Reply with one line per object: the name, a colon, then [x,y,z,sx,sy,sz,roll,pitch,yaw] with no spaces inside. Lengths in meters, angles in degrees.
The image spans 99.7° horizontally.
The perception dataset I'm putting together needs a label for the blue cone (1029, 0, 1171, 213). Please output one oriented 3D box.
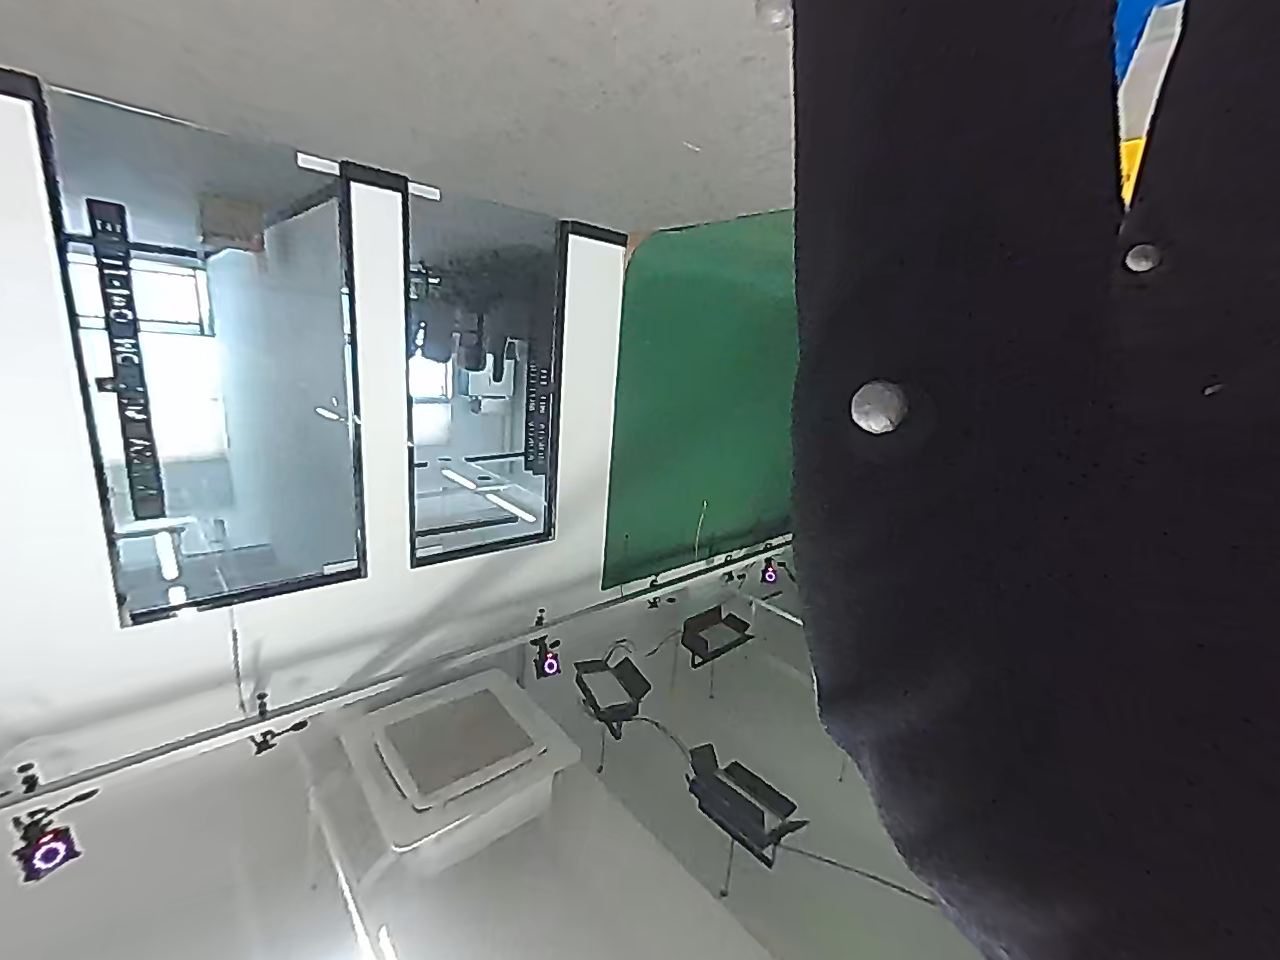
blue cone: [0.819,-0.713,1.020,0.193,0.380,0.192,-7,-161,-43]
